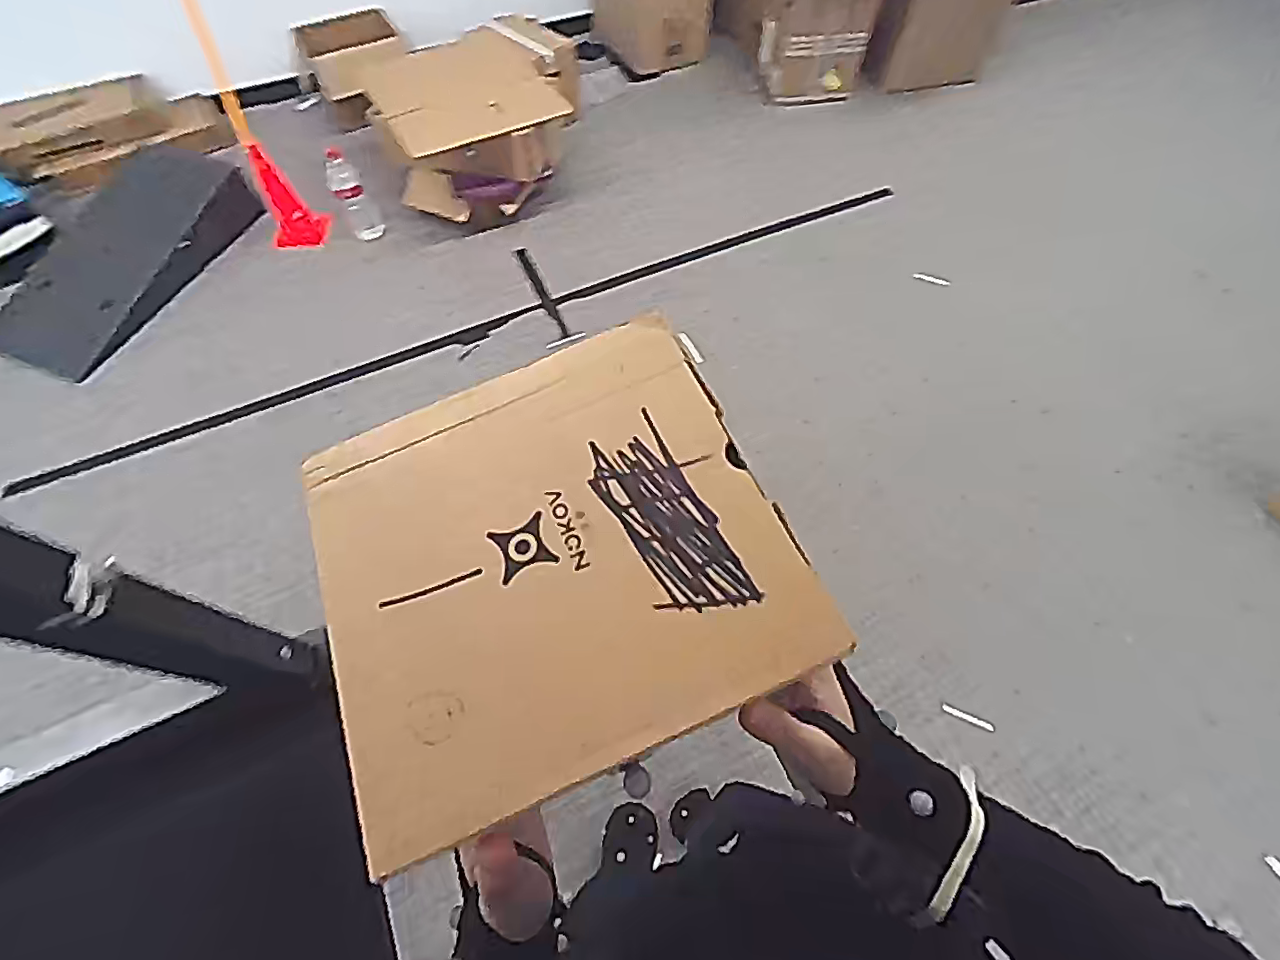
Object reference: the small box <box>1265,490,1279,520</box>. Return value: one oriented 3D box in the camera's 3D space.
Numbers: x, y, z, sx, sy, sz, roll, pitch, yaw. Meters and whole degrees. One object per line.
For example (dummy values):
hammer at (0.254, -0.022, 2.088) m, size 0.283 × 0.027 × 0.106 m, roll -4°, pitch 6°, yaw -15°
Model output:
small box at (1.959, 0.064, 1.529) m, size 0.179 × 0.176 × 0.168 m, roll -22°, pitch 63°, yaw -11°

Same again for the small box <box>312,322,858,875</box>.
small box at (-0.027, 0.058, 0.281) m, size 0.179 × 0.176 × 0.168 m, roll -22°, pitch 66°, yaw -4°
